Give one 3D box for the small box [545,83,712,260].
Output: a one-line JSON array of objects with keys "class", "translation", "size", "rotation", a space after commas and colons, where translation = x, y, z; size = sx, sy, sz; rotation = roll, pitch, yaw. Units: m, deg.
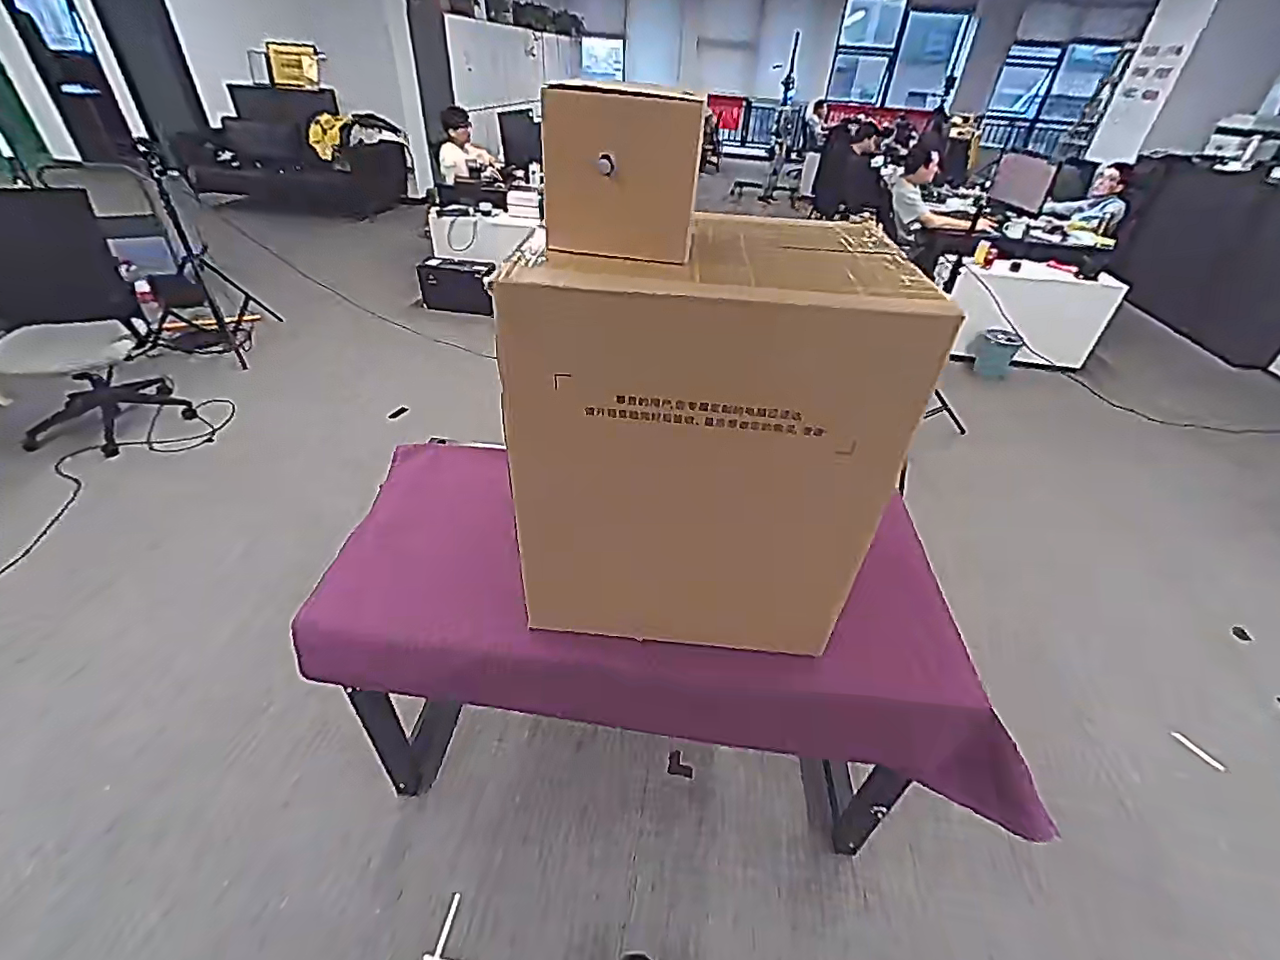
[{"class": "small box", "translation": [-0.009, -0.383, 0.671], "size": [0.179, 0.176, 0.168], "rotation": [7, 38, 3]}]
